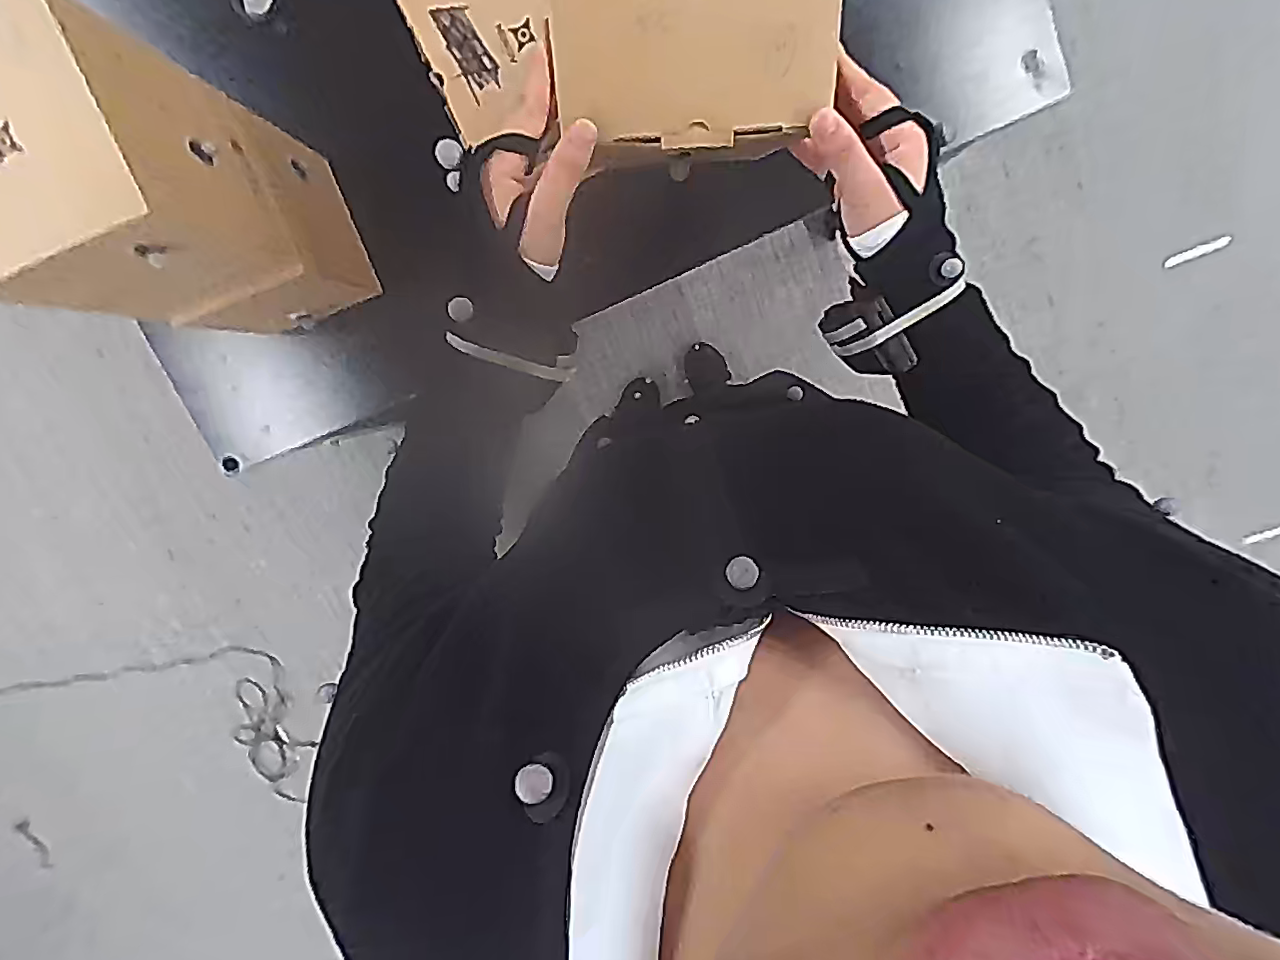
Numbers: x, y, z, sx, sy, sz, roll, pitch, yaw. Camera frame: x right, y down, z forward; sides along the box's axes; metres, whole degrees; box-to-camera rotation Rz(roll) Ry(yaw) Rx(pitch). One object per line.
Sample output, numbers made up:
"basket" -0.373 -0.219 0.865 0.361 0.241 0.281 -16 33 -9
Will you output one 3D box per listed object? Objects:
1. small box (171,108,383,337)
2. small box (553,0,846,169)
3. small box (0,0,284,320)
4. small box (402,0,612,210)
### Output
"small box" -0.445 -0.281 0.635 0.168 0.176 0.179 -19 101 6
"small box" 0.030 -0.313 0.364 0.168 0.176 0.179 -4 117 -1
"small box" -0.457 -0.253 0.472 0.179 0.176 0.168 -19 99 6
"small box" -0.114 -0.429 0.593 0.179 0.176 0.168 -24 100 6
